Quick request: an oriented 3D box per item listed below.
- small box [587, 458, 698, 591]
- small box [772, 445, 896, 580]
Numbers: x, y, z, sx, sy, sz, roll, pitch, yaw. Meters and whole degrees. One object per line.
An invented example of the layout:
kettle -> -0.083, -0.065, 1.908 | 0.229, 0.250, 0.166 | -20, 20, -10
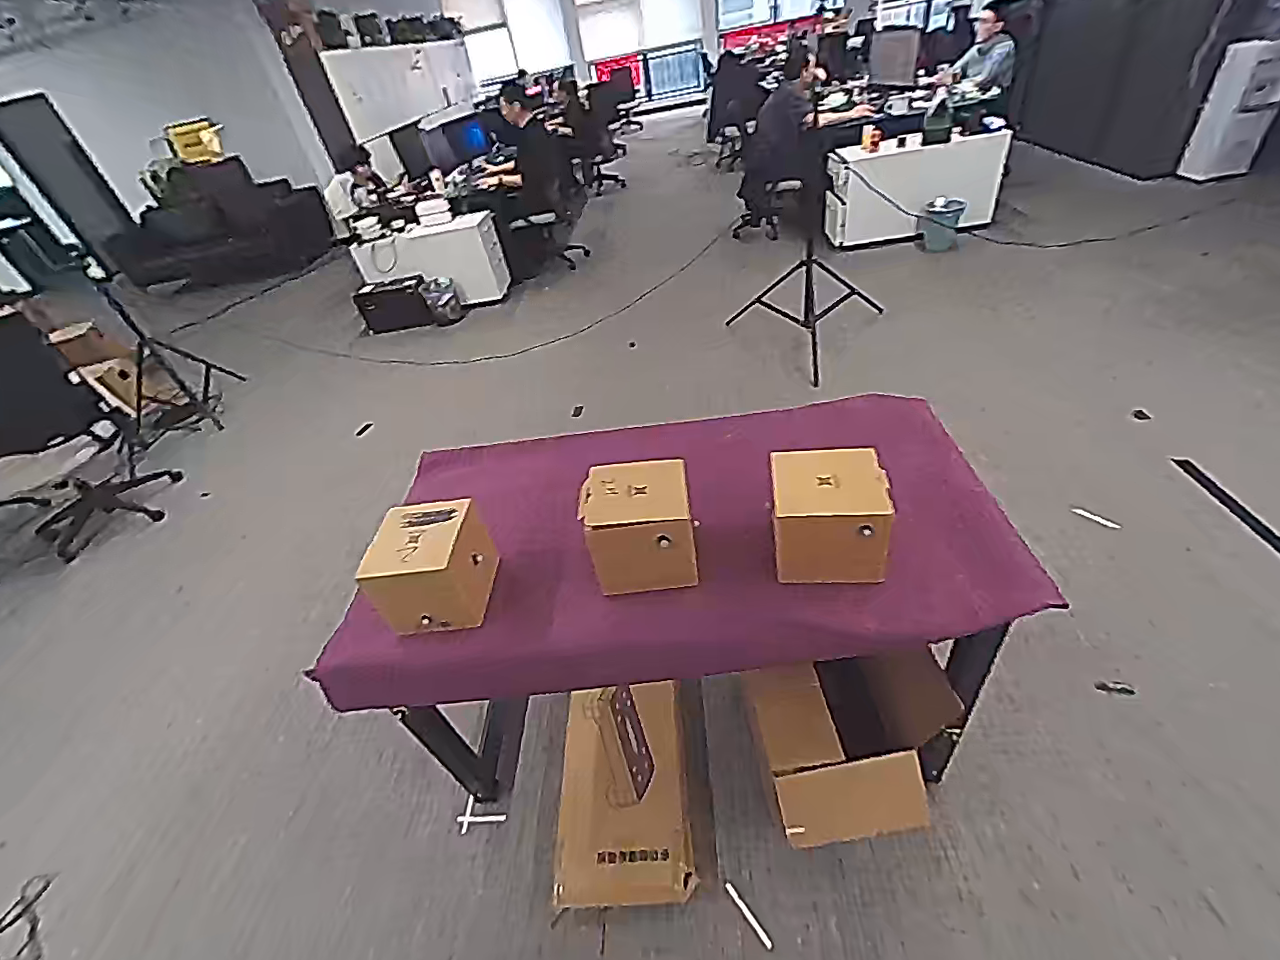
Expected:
small box -> 0.011, 0.083, 0.986 | 0.179, 0.176, 0.168 | -7, 37, 6
small box -> 0.325, 0.059, 0.936 | 0.179, 0.176, 0.168 | -3, 40, 11
